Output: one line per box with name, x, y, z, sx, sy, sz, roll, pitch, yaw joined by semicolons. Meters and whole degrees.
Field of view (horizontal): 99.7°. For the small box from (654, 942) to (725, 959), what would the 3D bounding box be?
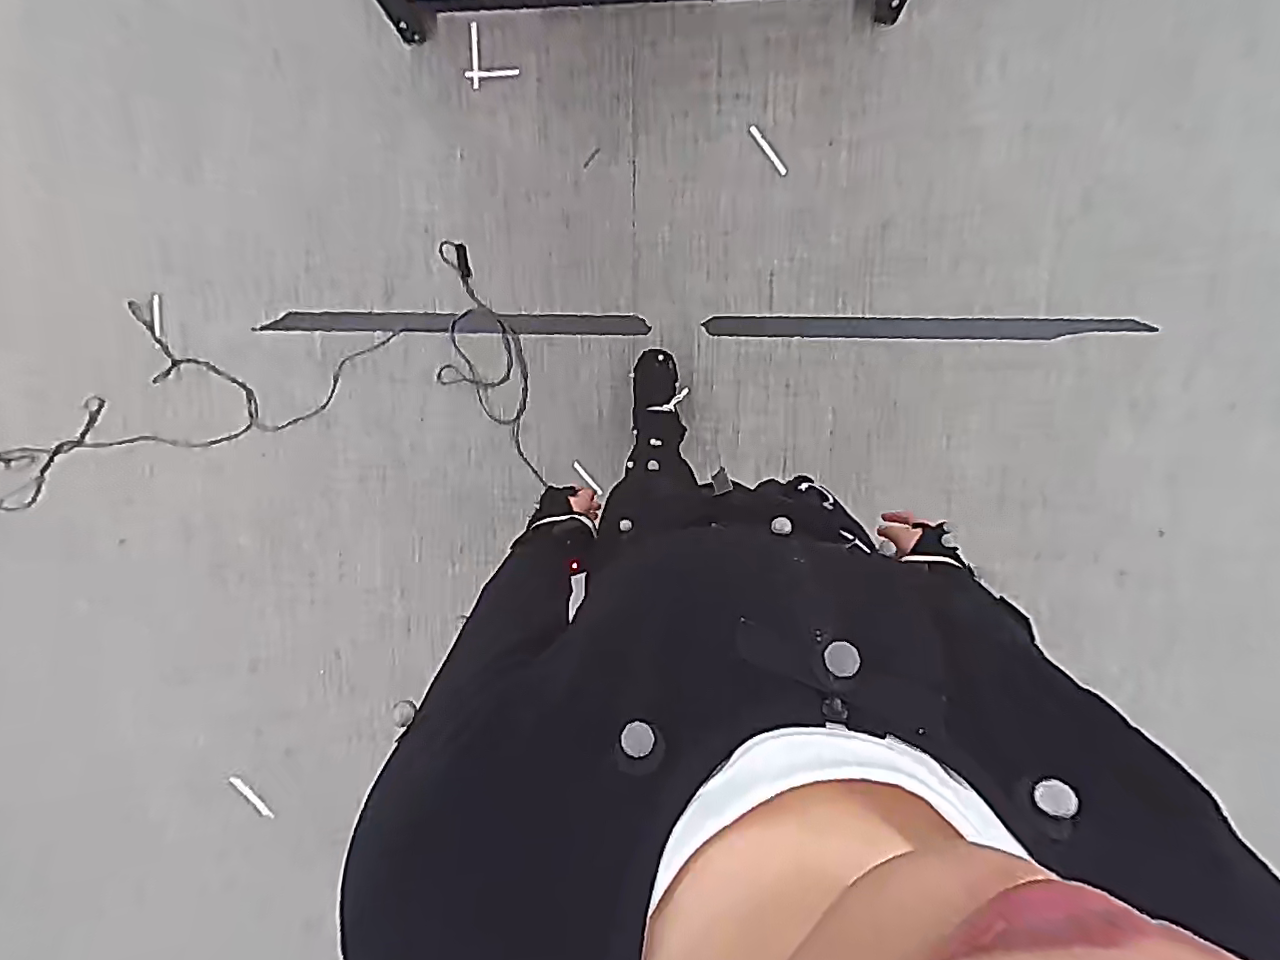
small box;0.107;1.166;1.177;0.168;0.176;0.179;2;94;3
